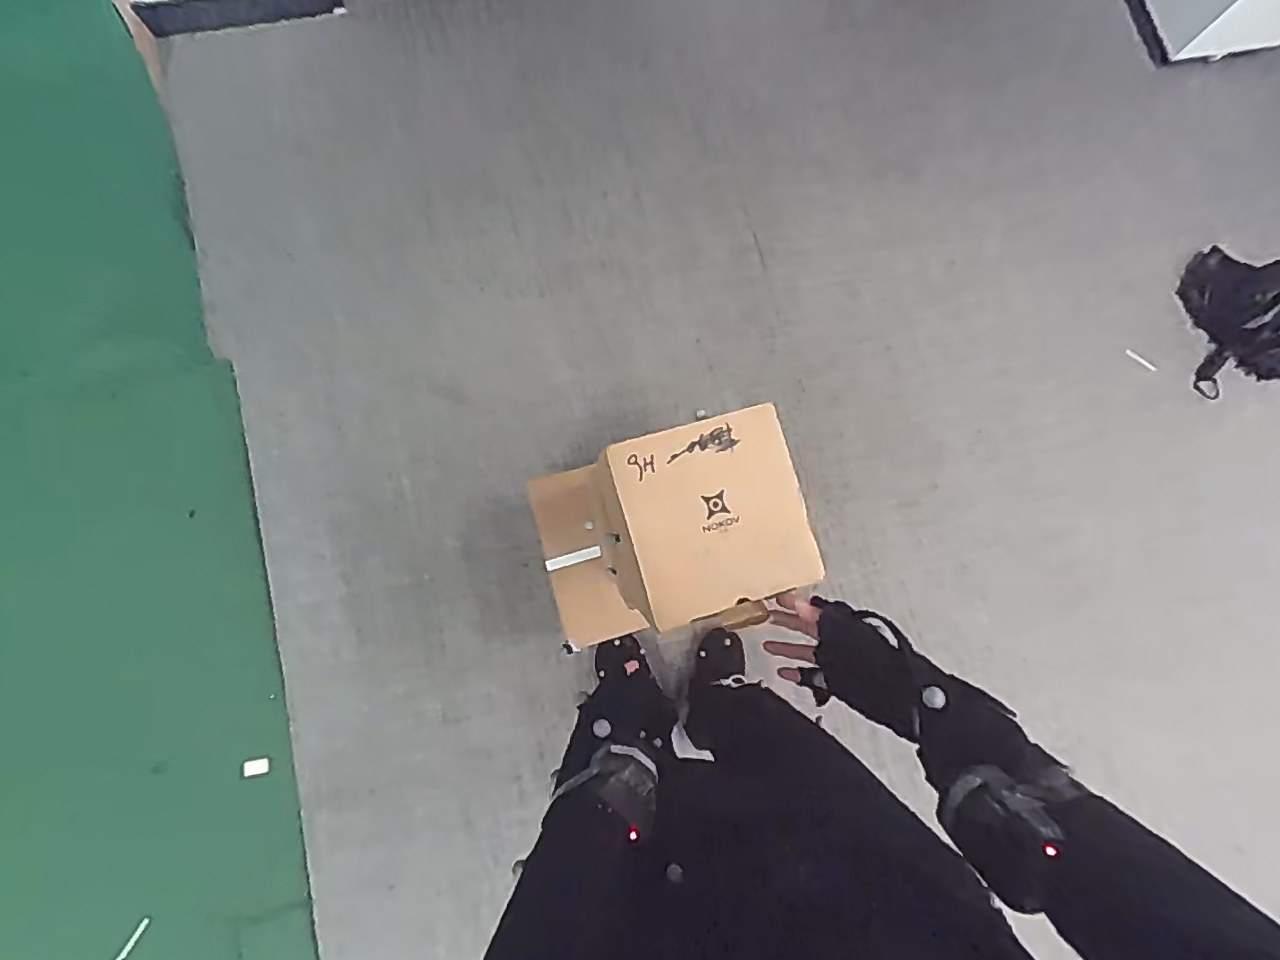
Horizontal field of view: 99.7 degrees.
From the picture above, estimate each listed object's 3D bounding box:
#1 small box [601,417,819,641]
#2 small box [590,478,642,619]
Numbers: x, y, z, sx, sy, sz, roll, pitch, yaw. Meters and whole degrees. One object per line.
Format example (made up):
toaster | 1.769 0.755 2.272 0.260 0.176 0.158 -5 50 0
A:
small box | 0.060 0.048 0.576 0.168 0.176 0.179 -16 87 -8
small box | 0.033 0.070 0.736 0.168 0.176 0.179 -16 85 -9
